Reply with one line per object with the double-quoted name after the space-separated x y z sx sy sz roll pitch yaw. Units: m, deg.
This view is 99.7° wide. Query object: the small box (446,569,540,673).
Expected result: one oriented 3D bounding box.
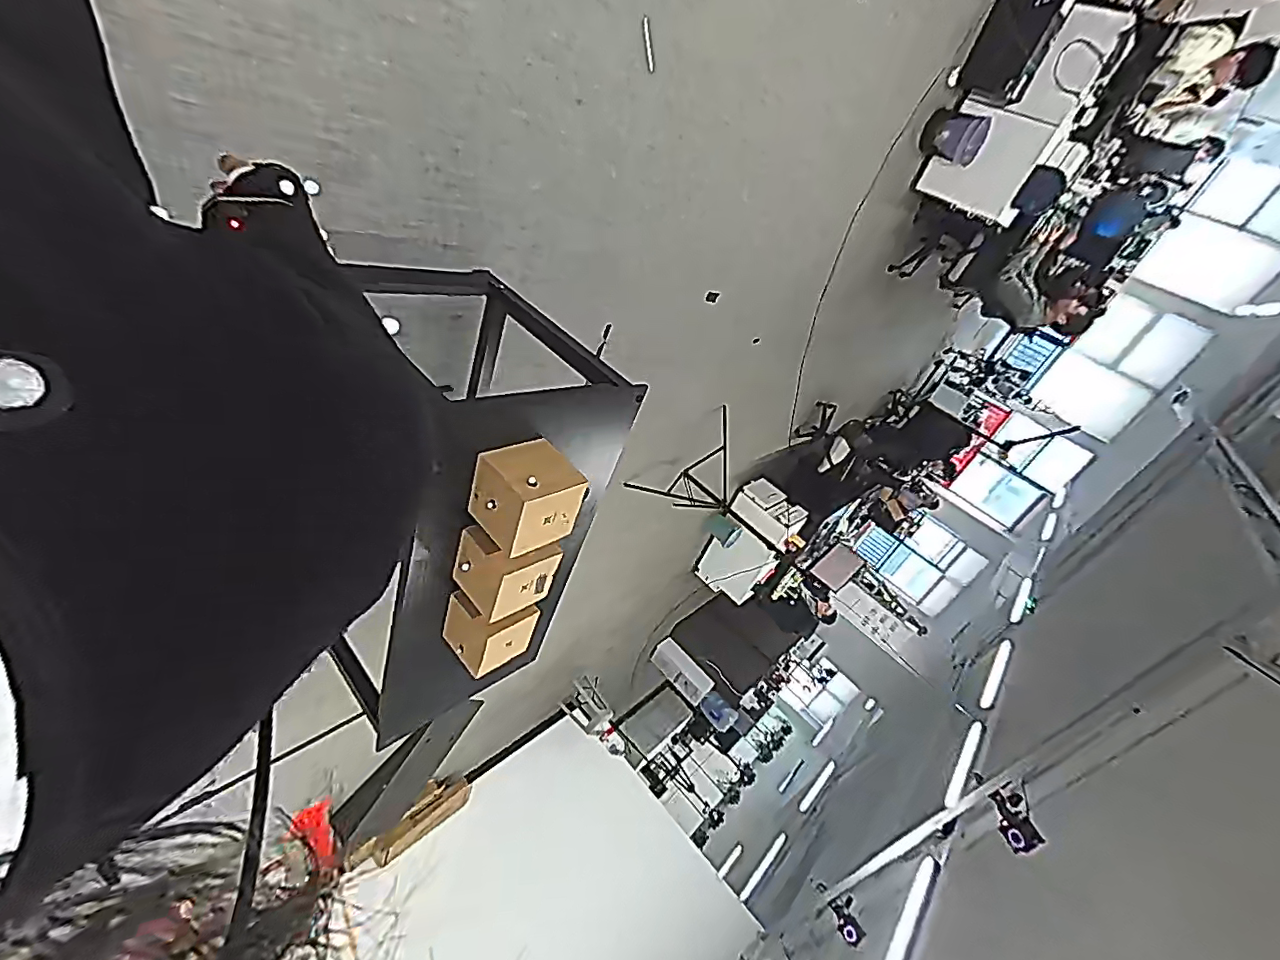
-0.398 0.371 1.447 0.168 0.176 0.179 -22 143 -47 "small box"
